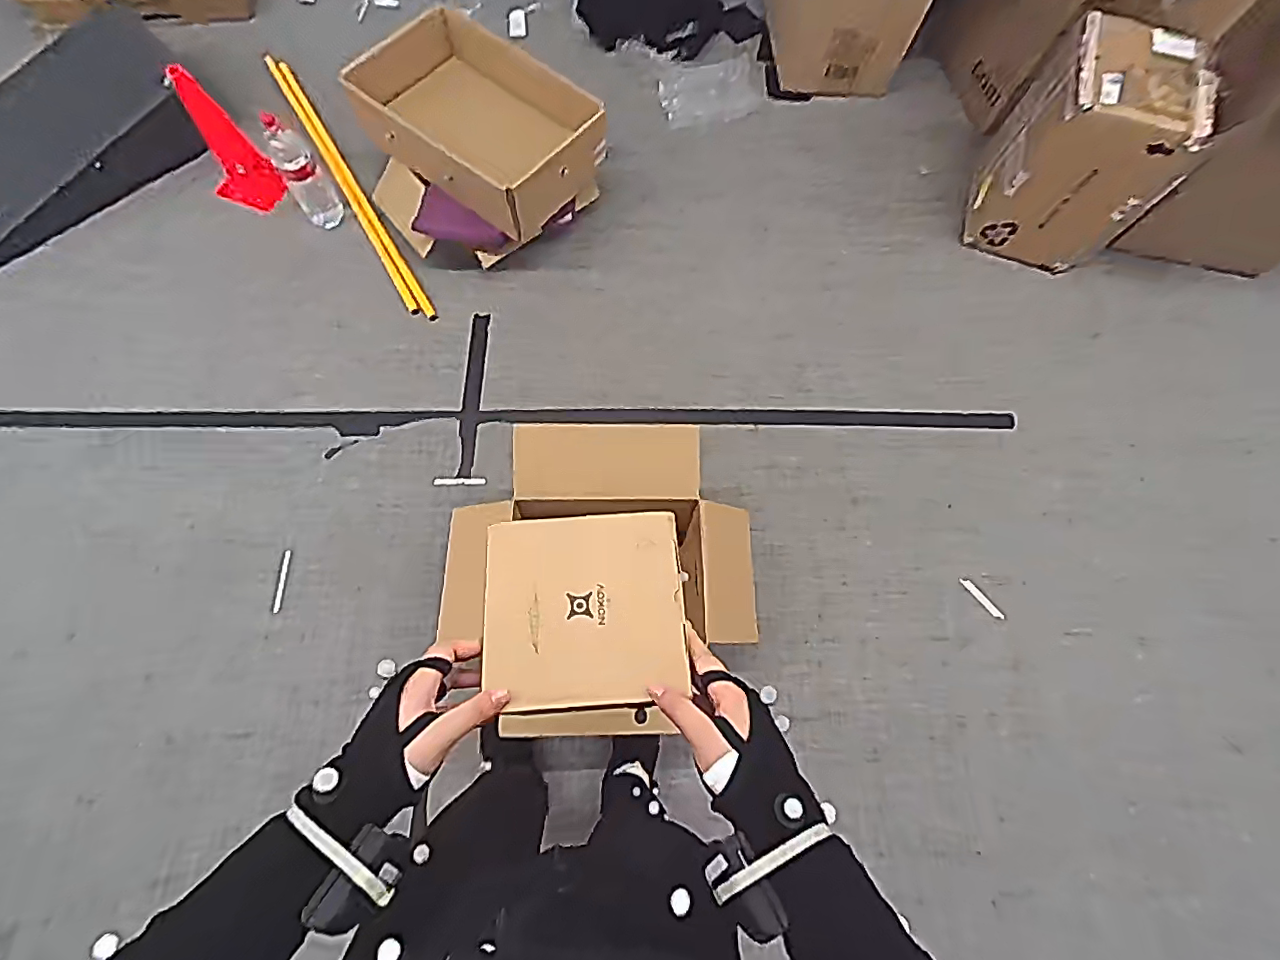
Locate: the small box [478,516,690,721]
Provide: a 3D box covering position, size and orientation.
[{"bbox_3d":[-0.052,0.146,0.546,0.179,0.176,0.168,-5,65,-1],"label":"small box"}]
